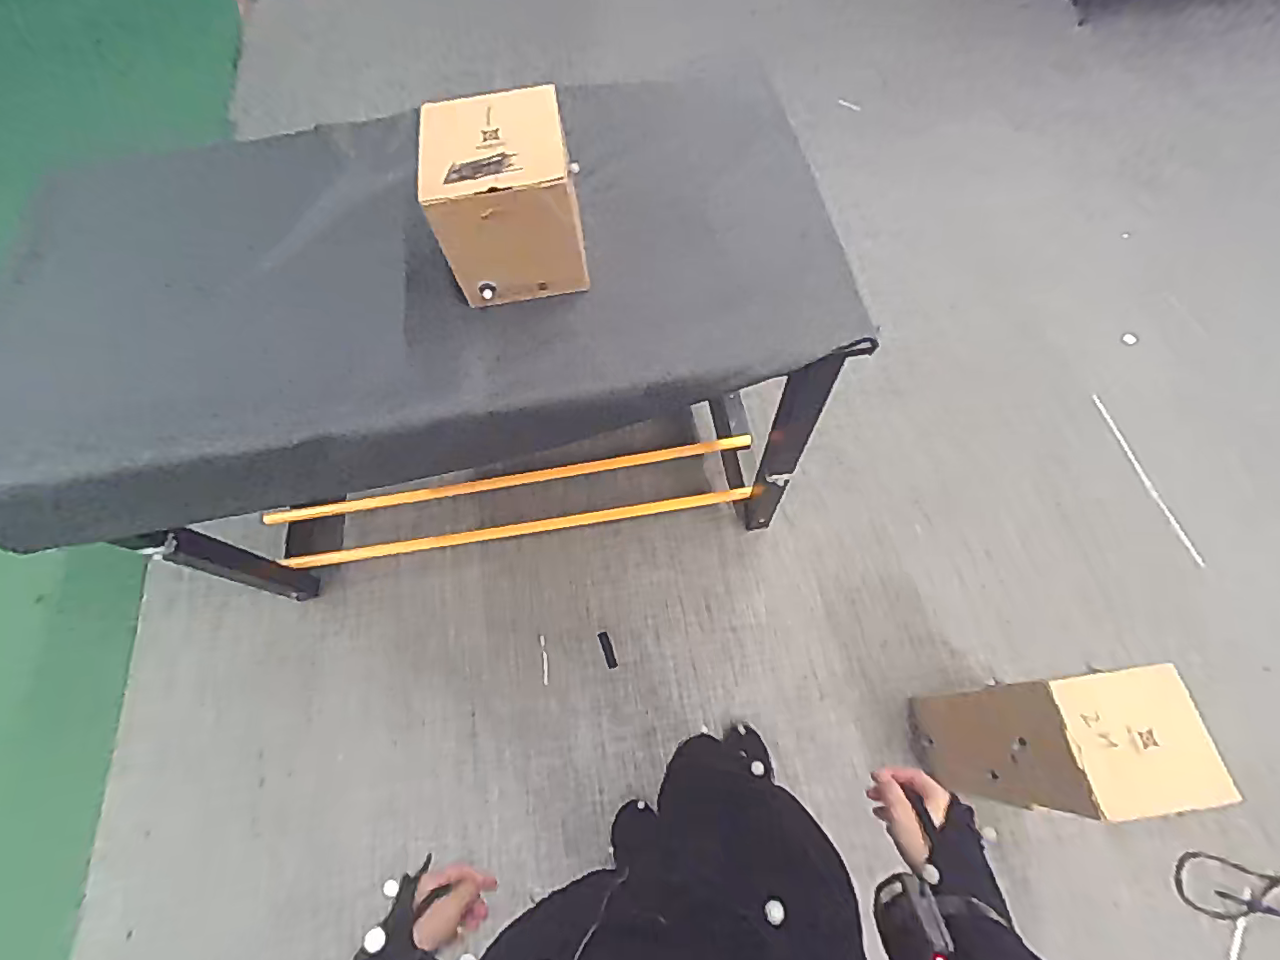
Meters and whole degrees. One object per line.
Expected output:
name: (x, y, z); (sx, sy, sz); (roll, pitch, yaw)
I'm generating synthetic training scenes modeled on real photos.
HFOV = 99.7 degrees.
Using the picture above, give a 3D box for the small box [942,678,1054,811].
small box: (0.651, 0.432, 0.909); (0.168, 0.176, 0.179); (-10, 65, -1)

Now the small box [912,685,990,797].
small box: (0.665, 0.500, 1.056); (0.168, 0.176, 0.179); (-8, 67, 0)

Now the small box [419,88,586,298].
small box: (-0.168, -0.355, 0.697); (0.168, 0.176, 0.179); (-9, 65, 0)

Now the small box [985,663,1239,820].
small box: (0.640, 0.359, 0.761); (0.179, 0.176, 0.168); (-9, 66, 0)
